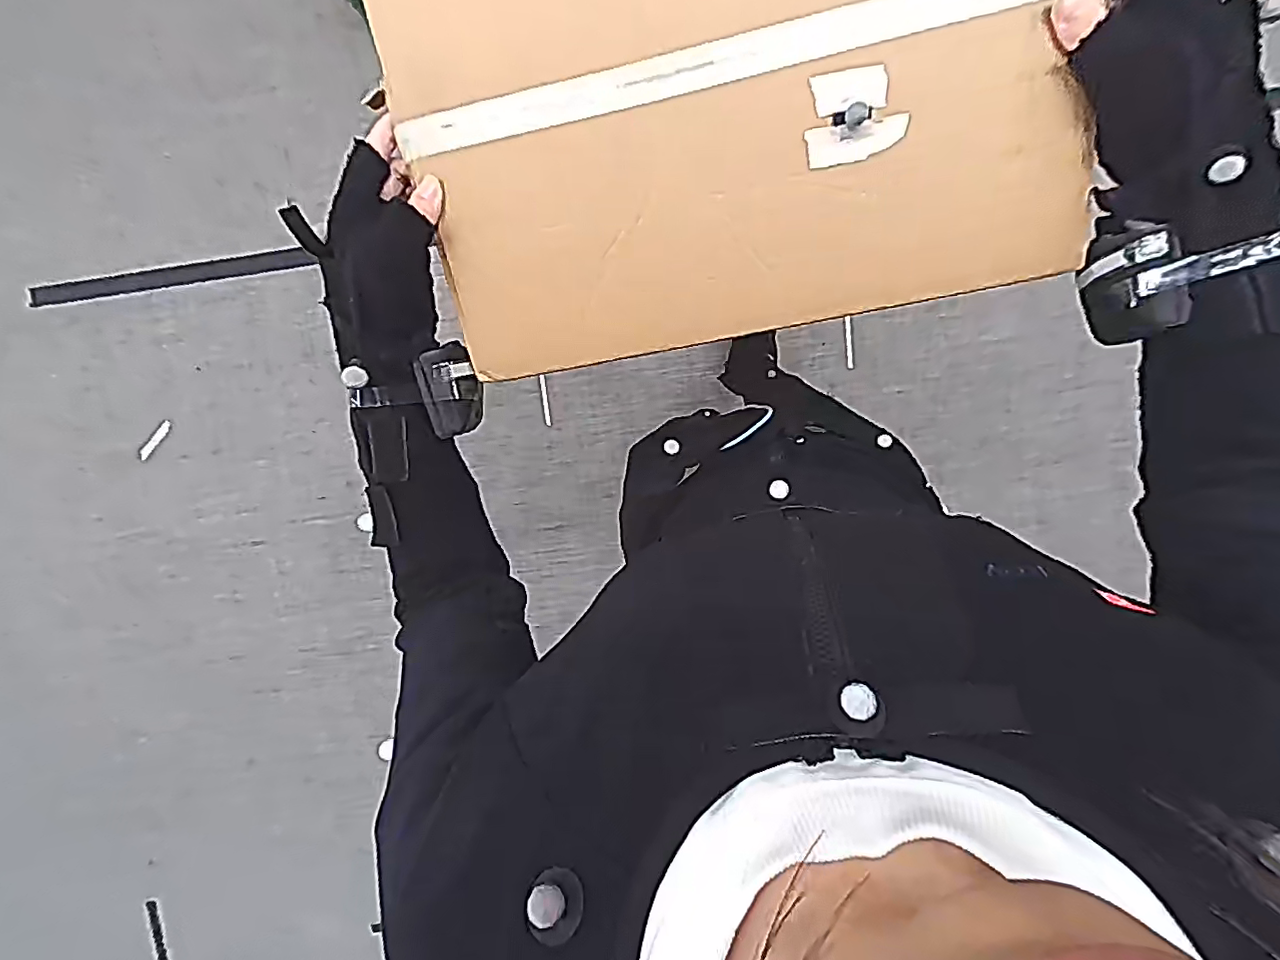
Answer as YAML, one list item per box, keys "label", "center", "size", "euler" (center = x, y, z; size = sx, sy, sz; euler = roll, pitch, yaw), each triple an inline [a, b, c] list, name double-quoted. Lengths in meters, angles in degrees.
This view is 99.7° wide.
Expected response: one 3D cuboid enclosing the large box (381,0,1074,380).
- label: "large box"
  center: [0.059, -0.299, 0.471]
  size: [0.408, 0.320, 0.320]
  euler: [-11, 109, 6]
